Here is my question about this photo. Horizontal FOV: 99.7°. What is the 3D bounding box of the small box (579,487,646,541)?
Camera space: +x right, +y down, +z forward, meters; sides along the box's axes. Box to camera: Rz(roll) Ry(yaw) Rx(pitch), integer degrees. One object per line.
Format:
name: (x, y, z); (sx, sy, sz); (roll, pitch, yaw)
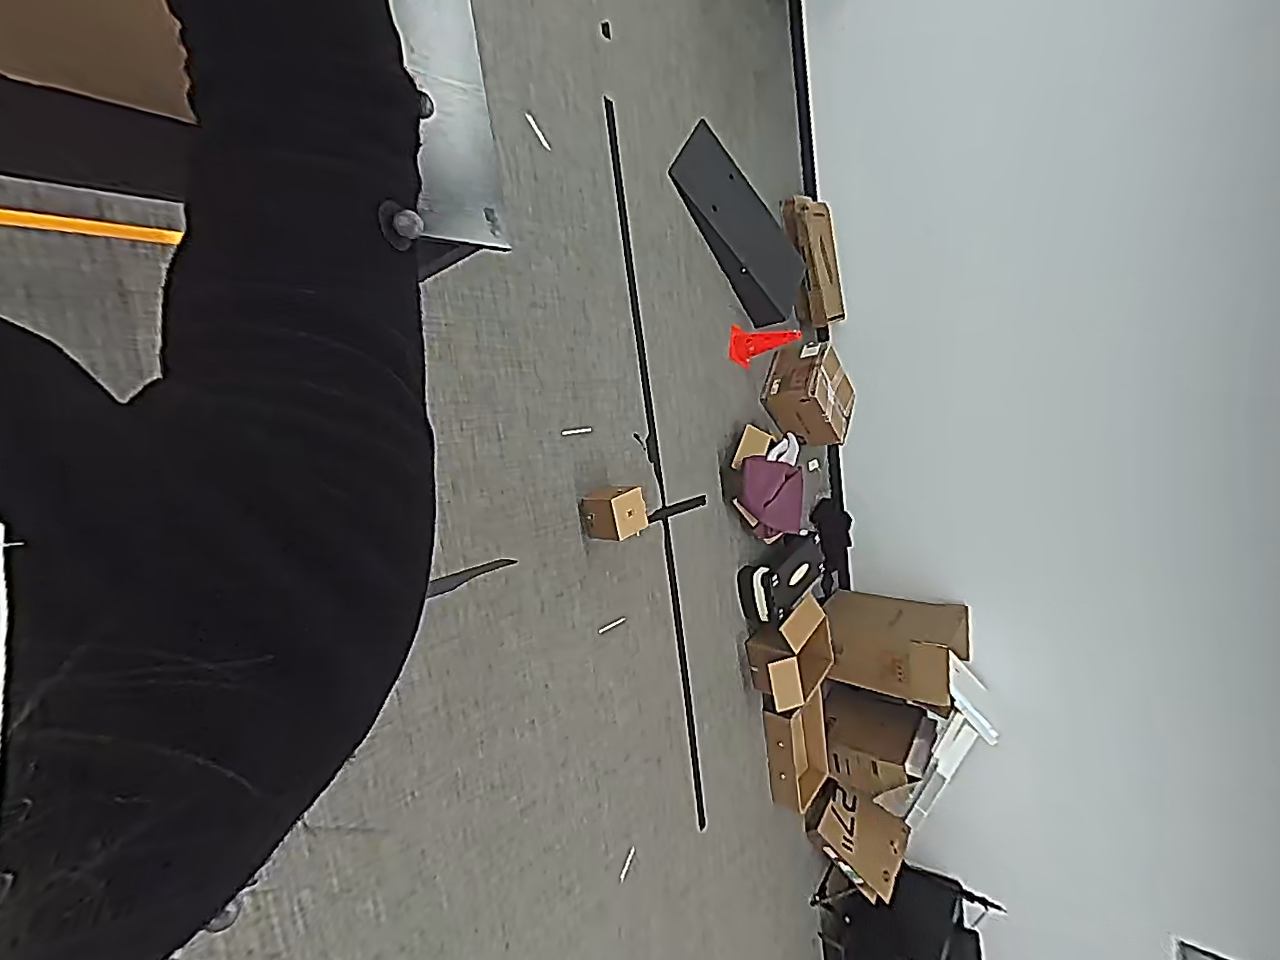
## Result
small box: (-0.107, 0.125, 2.100); (0.179, 0.176, 0.168); (-24, 107, -45)
